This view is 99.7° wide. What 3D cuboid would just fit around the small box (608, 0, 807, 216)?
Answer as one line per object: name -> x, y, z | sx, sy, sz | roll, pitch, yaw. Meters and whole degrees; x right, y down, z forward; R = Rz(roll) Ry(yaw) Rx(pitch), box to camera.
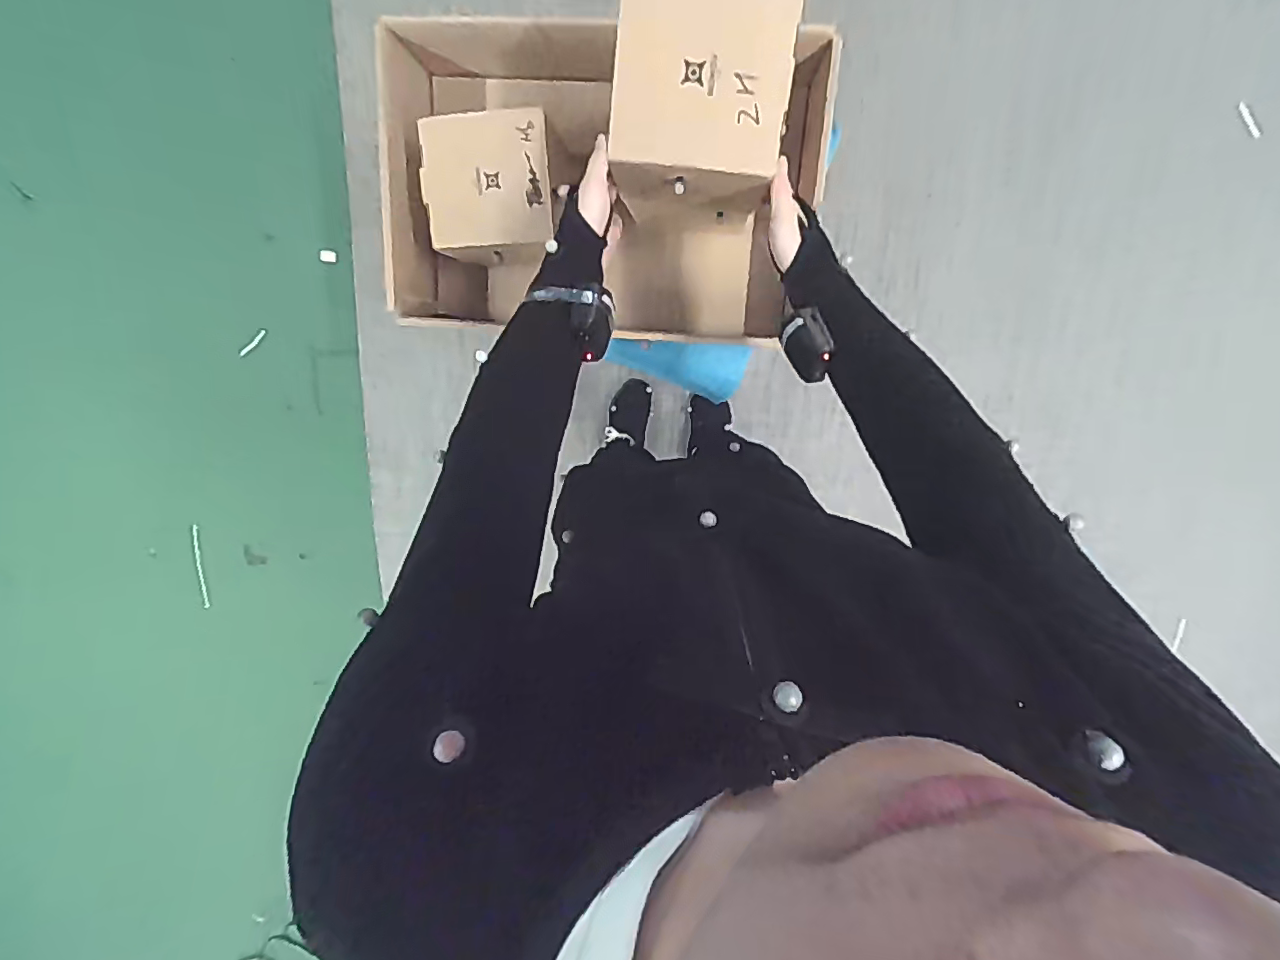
small box -> 0.067, -0.410, 0.608 | 0.179, 0.176, 0.168 | 7, 105, 1
